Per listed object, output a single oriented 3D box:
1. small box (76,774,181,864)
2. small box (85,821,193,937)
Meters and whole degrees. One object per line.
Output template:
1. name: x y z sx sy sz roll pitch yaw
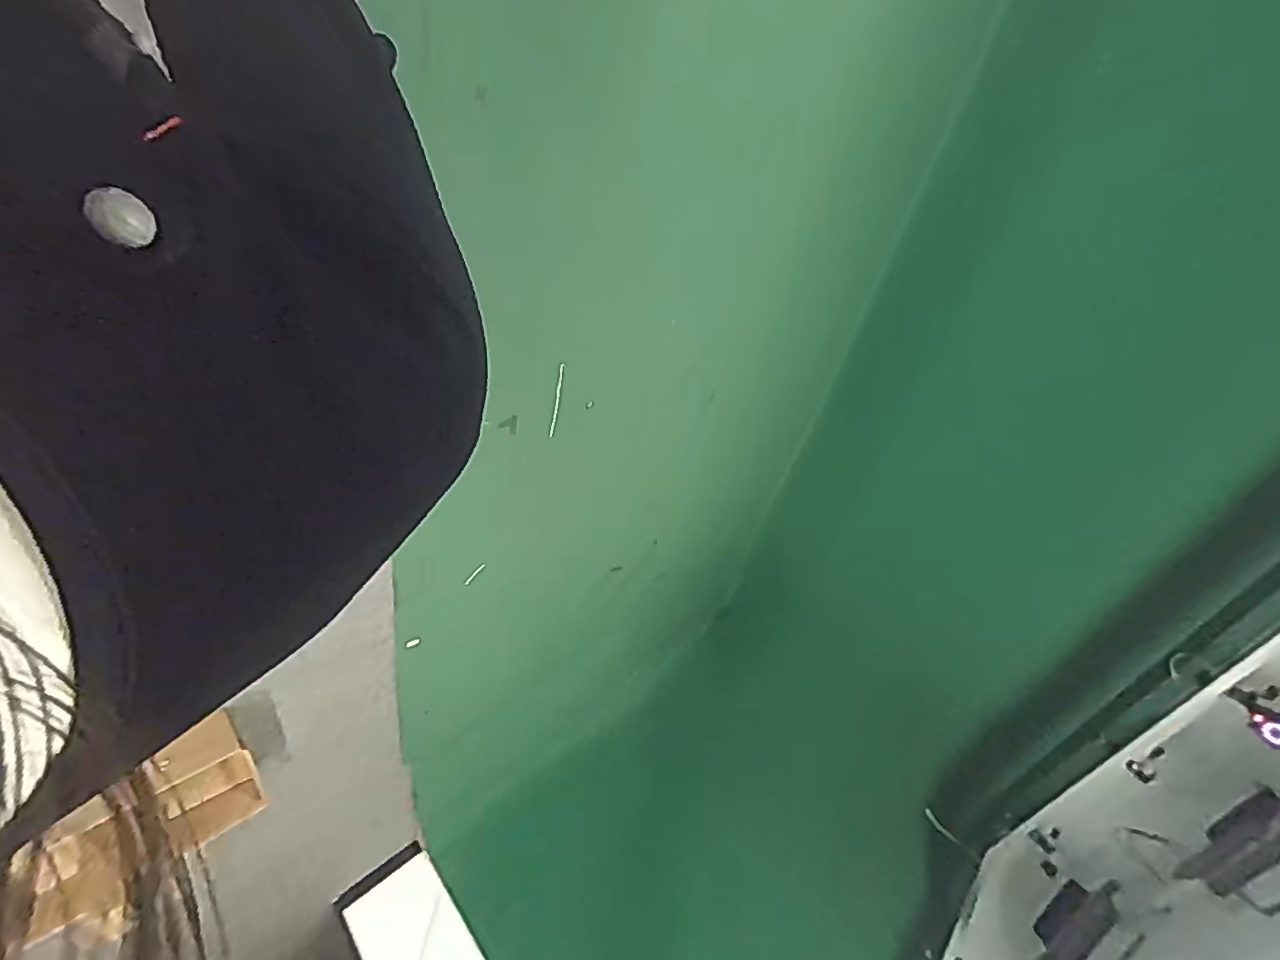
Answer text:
1. small box: -1.525 1.025 1.614 0.179 0.176 0.168 -25 142 -39
2. small box: -1.401 1.109 1.511 0.179 0.176 0.168 -26 142 -37
